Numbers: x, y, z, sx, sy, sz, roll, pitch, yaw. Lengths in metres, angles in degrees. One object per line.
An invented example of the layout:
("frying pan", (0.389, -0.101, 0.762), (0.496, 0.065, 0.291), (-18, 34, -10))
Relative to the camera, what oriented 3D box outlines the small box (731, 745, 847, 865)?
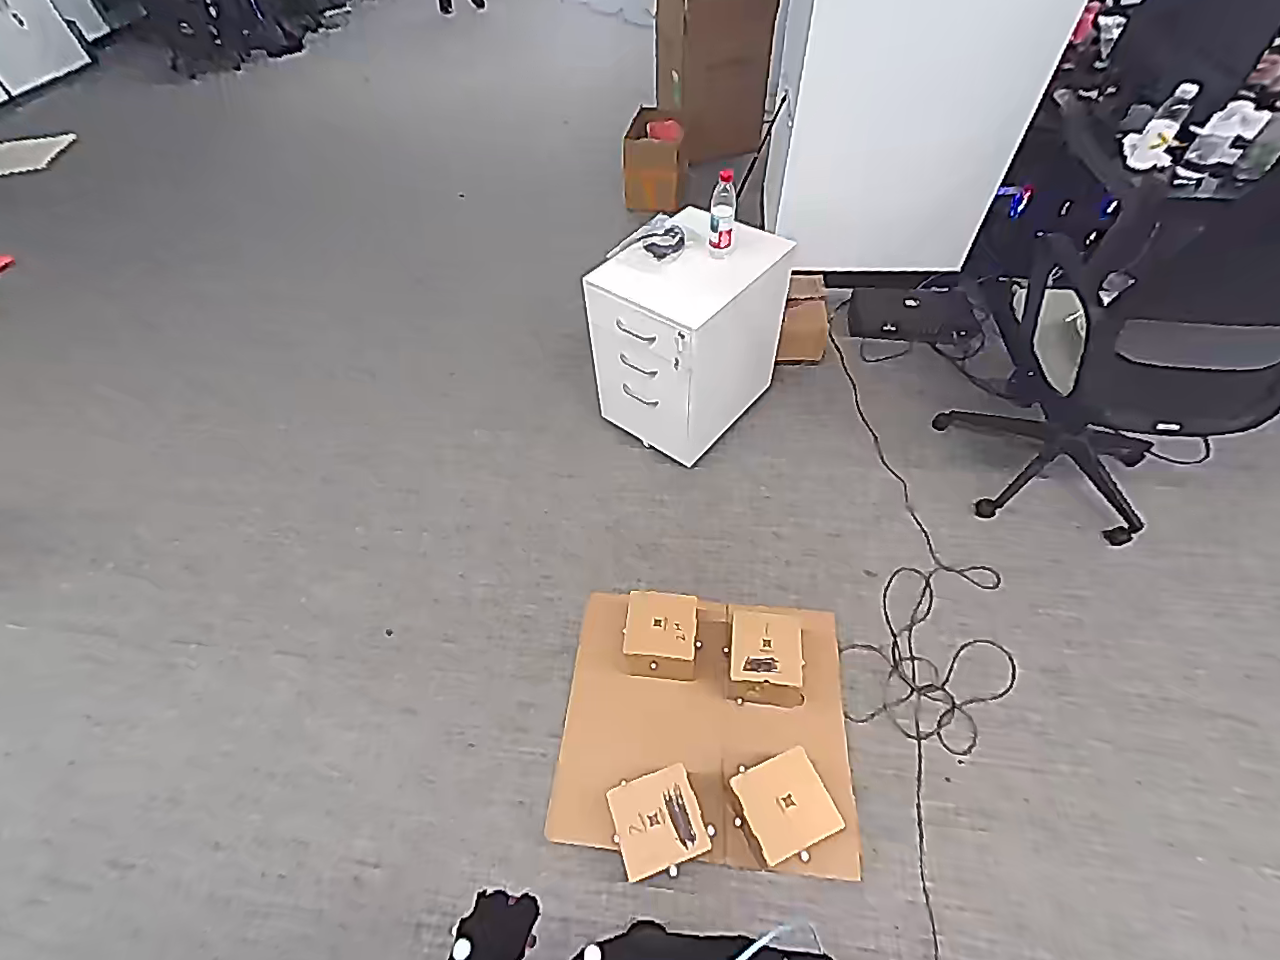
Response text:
("small box", (0.310, 0.704, 1.170), (0.179, 0.176, 0.168), (-21, 54, -10))
